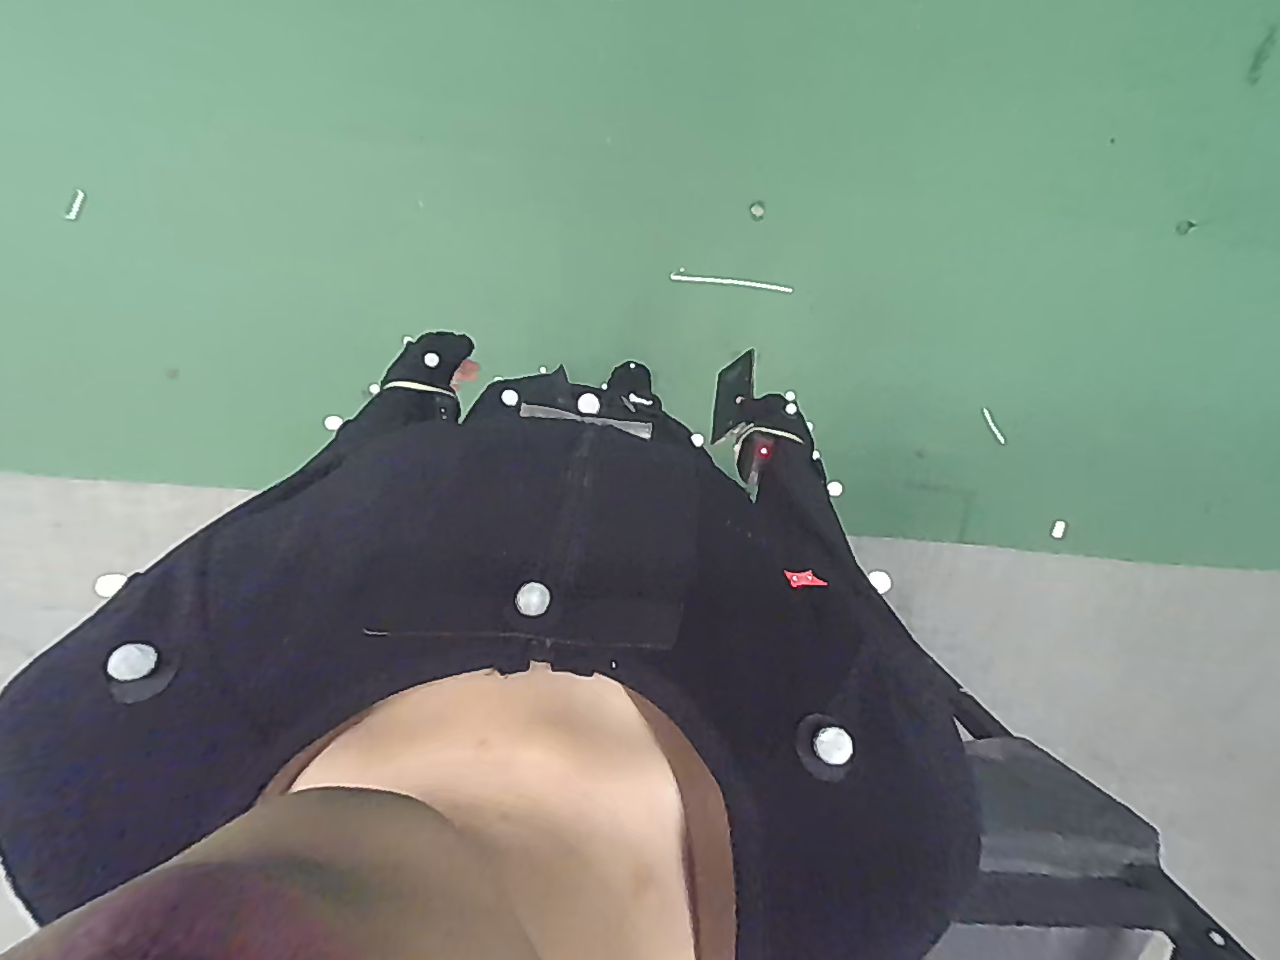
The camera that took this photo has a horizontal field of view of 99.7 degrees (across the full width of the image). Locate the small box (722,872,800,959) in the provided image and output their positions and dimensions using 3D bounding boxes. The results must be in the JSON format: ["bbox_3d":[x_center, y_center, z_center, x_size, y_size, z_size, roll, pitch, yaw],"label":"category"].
[{"bbox_3d":[0.345,1.287,1.578,0.179,0.176,0.168,7,102,-3],"label":"small box"}]
